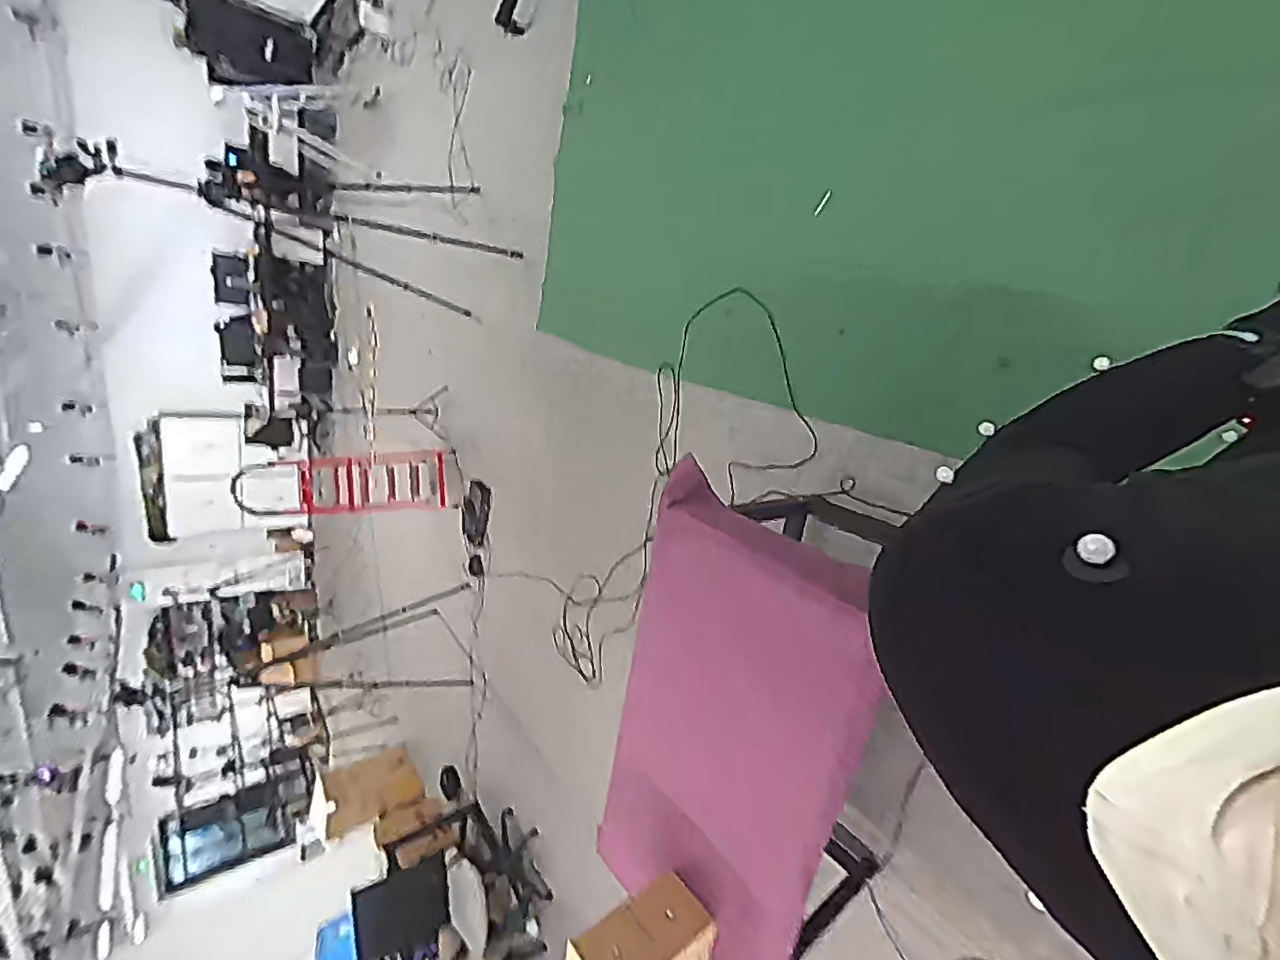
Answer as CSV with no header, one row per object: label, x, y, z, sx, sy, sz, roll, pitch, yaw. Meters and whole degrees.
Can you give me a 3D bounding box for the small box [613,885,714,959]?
small box,0.058,1.173,1.360,0.179,0.176,0.168,23,110,45
